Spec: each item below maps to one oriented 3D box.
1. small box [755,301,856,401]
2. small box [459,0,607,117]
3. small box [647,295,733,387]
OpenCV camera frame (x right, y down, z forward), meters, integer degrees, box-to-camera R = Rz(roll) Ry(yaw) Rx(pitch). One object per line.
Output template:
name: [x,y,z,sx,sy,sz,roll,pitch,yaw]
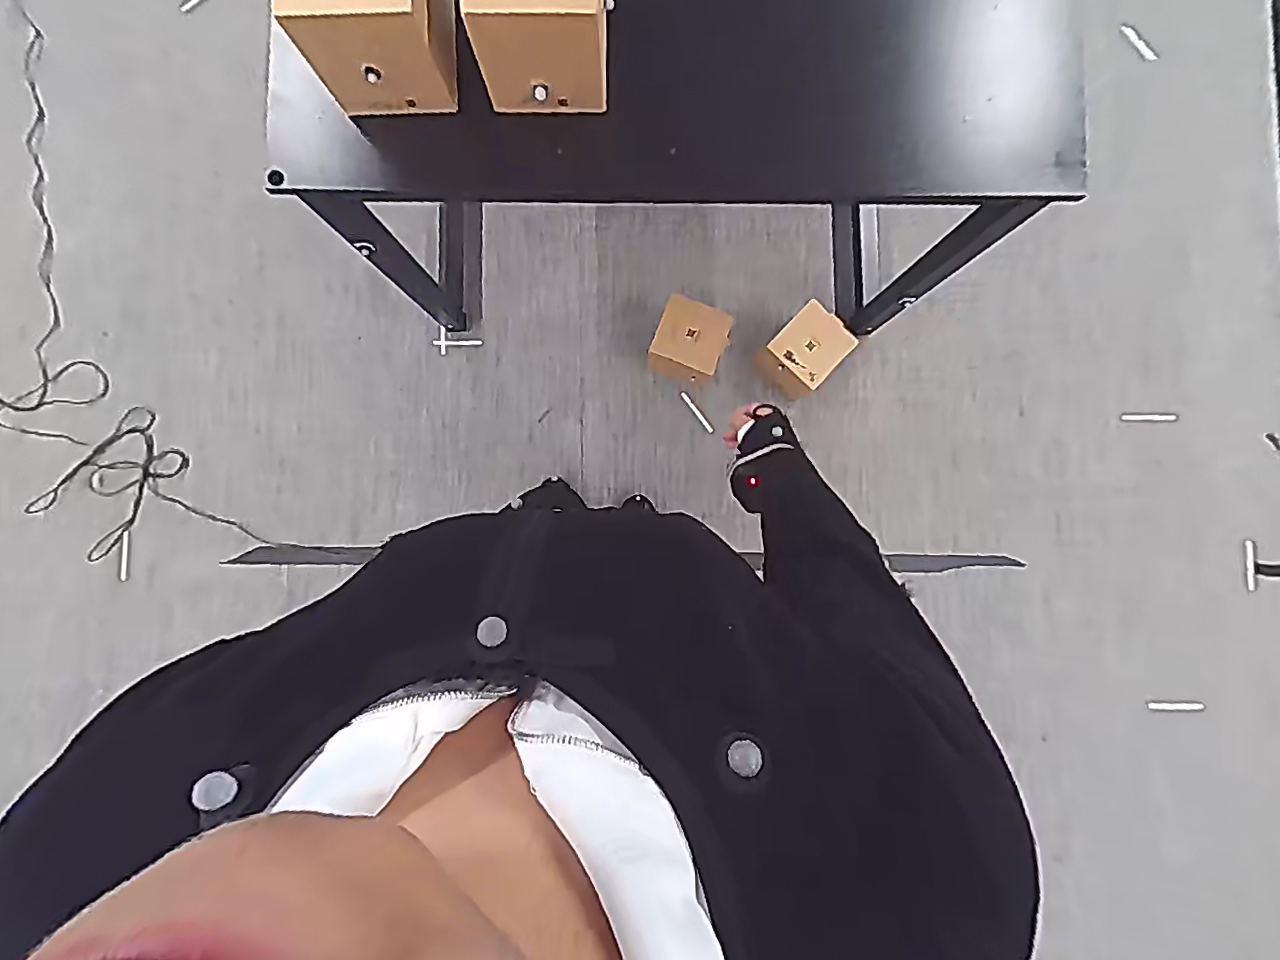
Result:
small box: [0.431,-0.337,1.443,0.168,0.176,0.179,44,88,2]
small box: [-0.132,-0.629,0.723,0.168,0.176,0.179,0,88,0]
small box: [0.128,-0.361,1.445,0.179,0.176,0.168,21,87,1]
